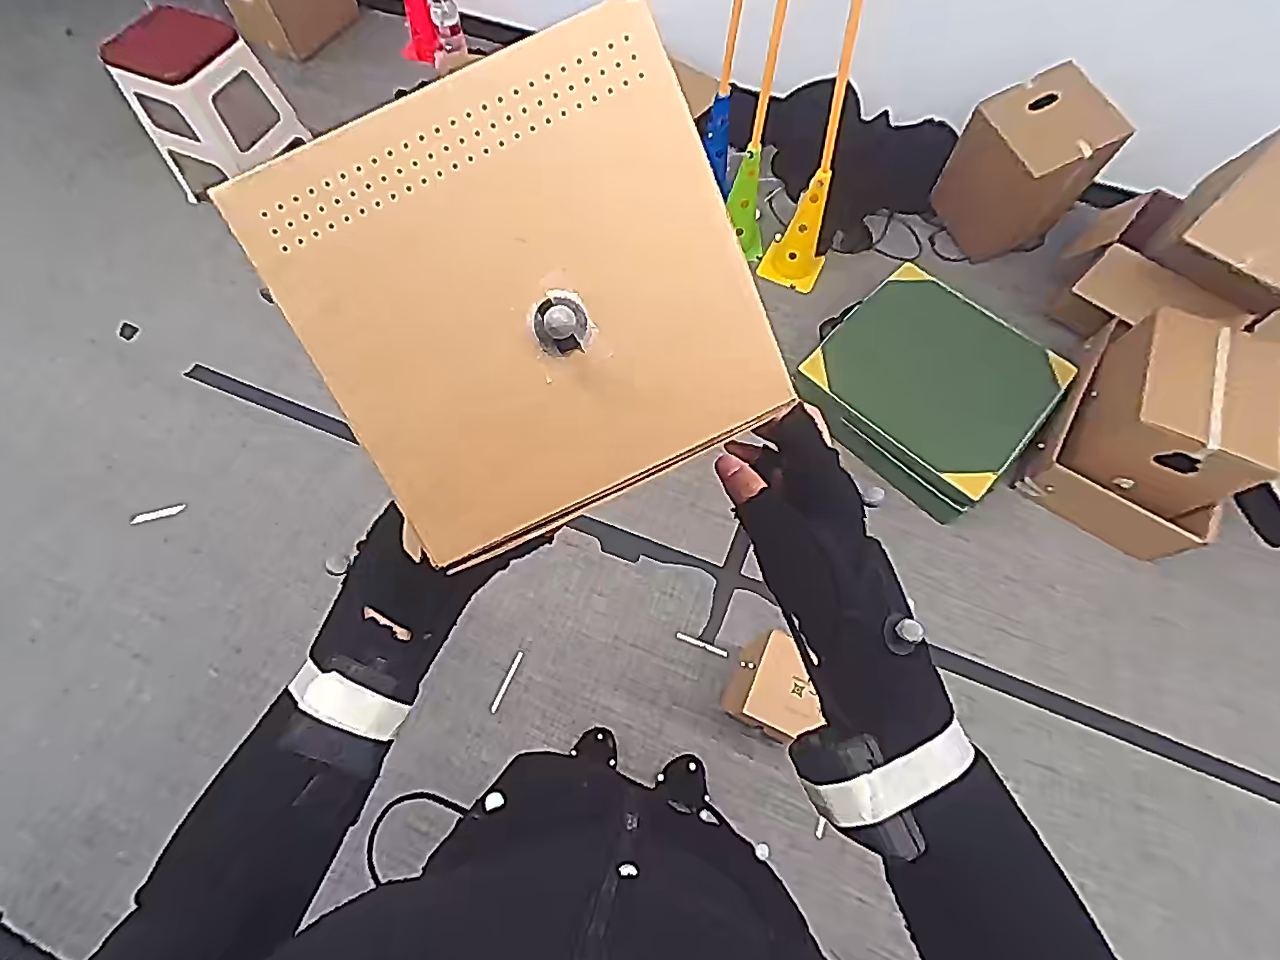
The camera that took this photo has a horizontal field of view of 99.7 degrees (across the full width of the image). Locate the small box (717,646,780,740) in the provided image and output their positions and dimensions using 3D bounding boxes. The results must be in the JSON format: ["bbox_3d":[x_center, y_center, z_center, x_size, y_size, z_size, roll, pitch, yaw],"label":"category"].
[{"bbox_3d":[0.302,0.497,1.271,0.179,0.176,0.168,25,67,8],"label":"small box"}]

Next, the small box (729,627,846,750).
[{"bbox_3d":[0.297,0.432,1.122,0.168,0.176,0.179,24,69,10],"label":"small box"}]

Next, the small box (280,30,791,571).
[{"bbox_3d":[-0.052,-0.084,0.298,0.179,0.168,0.176,-26,105,0],"label":"small box"}]
